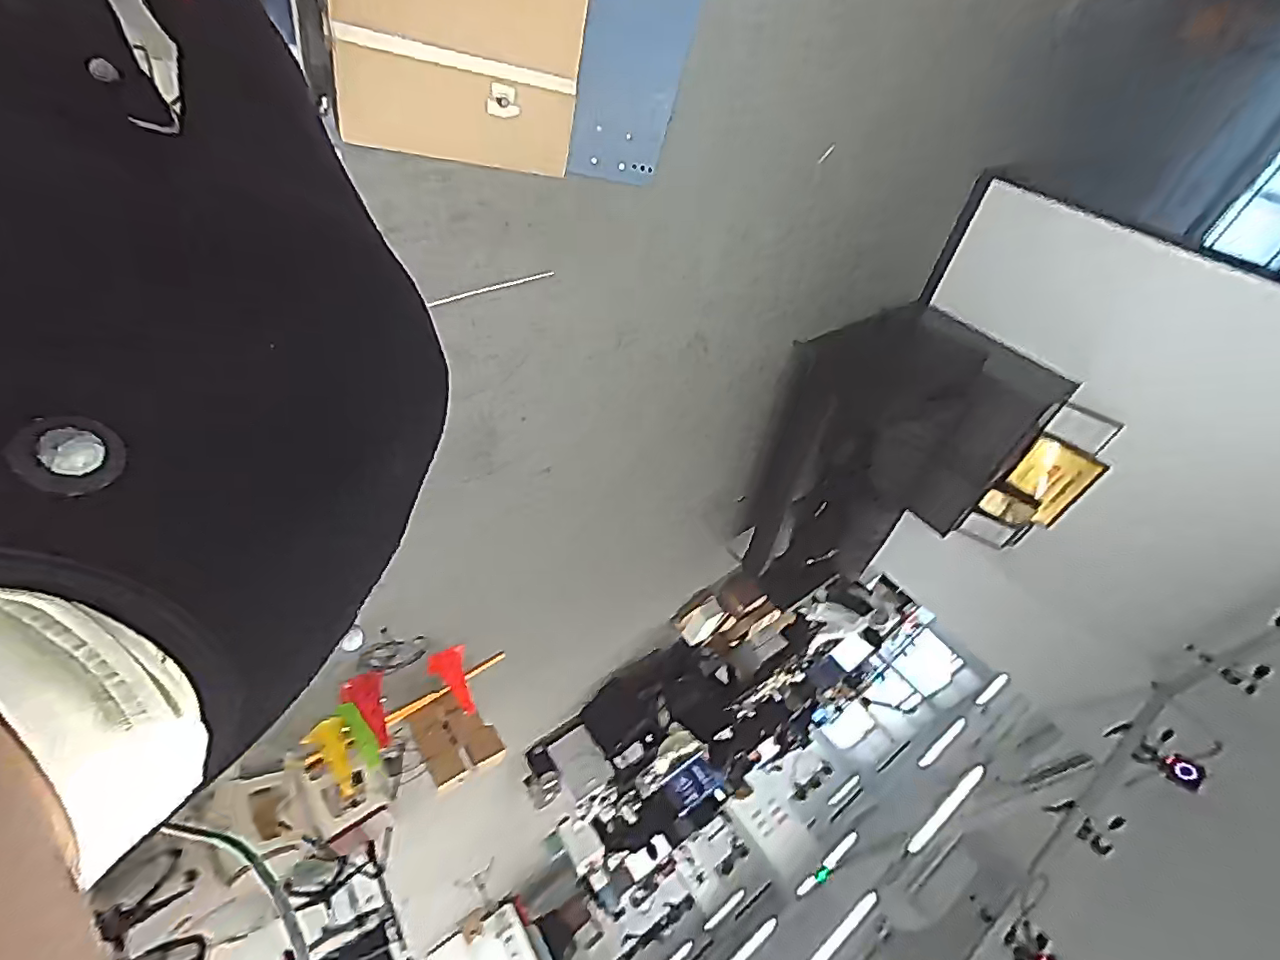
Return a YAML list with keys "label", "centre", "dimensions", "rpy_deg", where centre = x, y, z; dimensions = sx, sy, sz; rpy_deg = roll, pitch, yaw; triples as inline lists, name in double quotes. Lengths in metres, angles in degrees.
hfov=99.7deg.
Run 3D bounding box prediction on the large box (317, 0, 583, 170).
- label: "large box"
  centre: [-0.364, -0.819, 1.011]
  dimensions: [0.408, 0.320, 0.320]
  rpy_deg: [-8, 136, -29]
